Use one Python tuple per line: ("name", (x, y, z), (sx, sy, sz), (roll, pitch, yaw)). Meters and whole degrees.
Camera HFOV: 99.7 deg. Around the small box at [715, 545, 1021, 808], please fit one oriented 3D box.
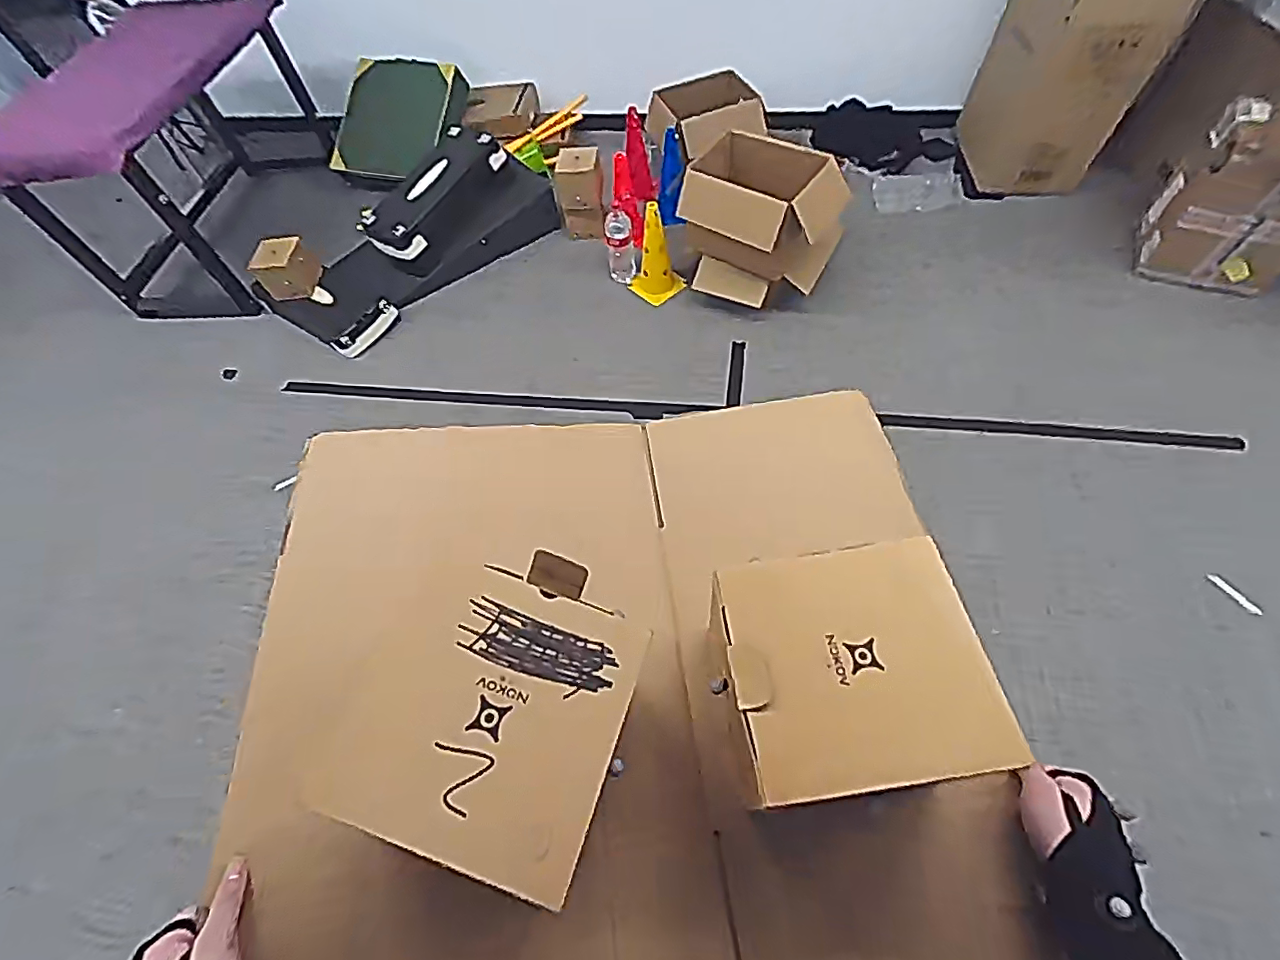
("small box", (0.167, 0.174, 0.468), (0.179, 0.176, 0.168), (-10, 59, 1))
